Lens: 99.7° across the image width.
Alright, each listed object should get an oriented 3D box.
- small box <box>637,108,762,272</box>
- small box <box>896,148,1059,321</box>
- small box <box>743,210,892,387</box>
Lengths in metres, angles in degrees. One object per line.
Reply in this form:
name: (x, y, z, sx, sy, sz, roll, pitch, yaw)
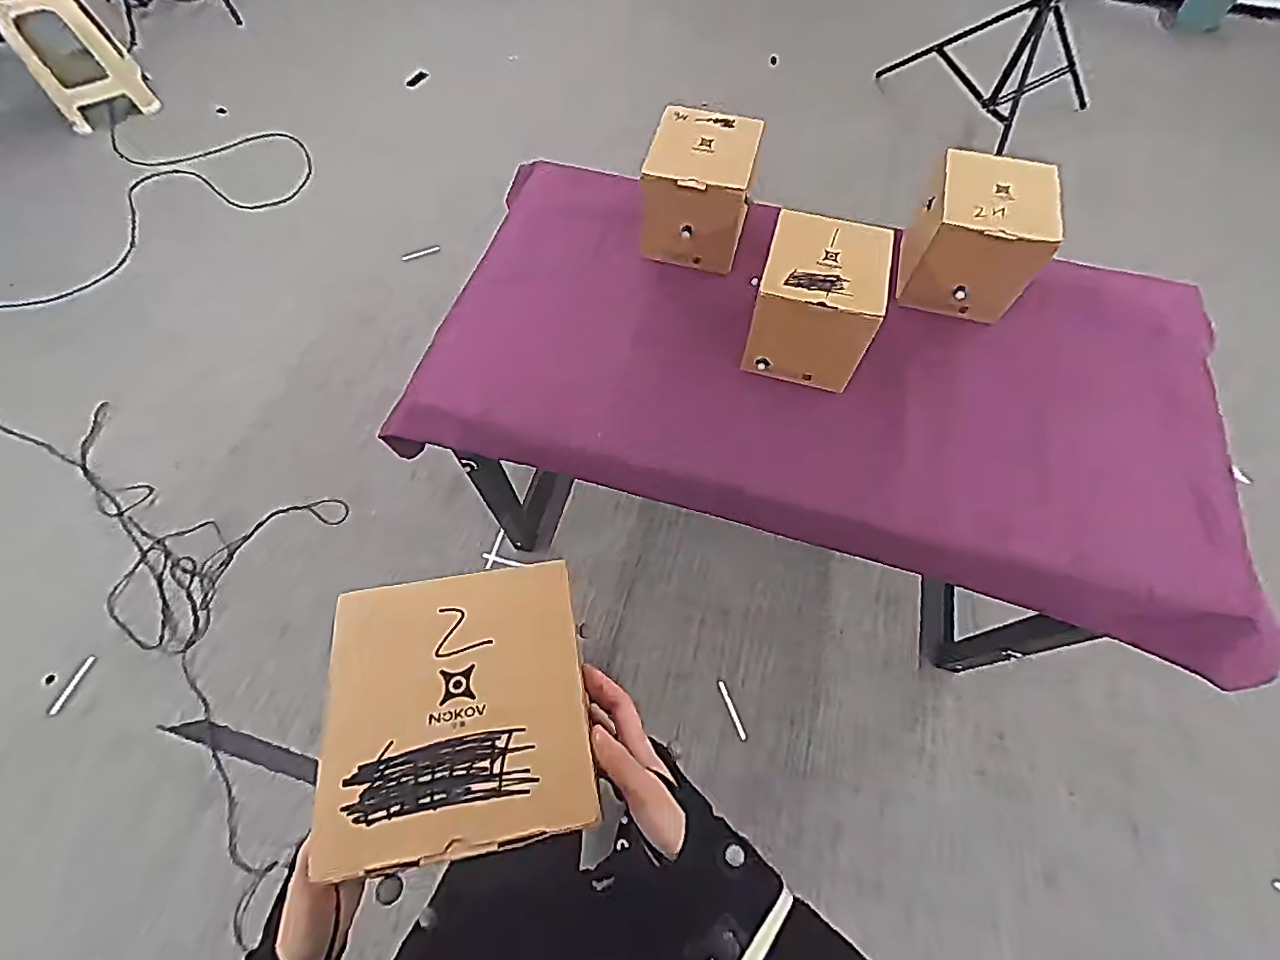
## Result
small box: (0.099, -0.488, 0.924, 0.168, 0.176, 0.179, 14, 67, 6)
small box: (0.533, -0.392, 0.876, 0.168, 0.176, 0.179, 14, 66, 8)
small box: (0.259, -0.267, 0.818, 0.168, 0.176, 0.179, 15, 64, 7)
